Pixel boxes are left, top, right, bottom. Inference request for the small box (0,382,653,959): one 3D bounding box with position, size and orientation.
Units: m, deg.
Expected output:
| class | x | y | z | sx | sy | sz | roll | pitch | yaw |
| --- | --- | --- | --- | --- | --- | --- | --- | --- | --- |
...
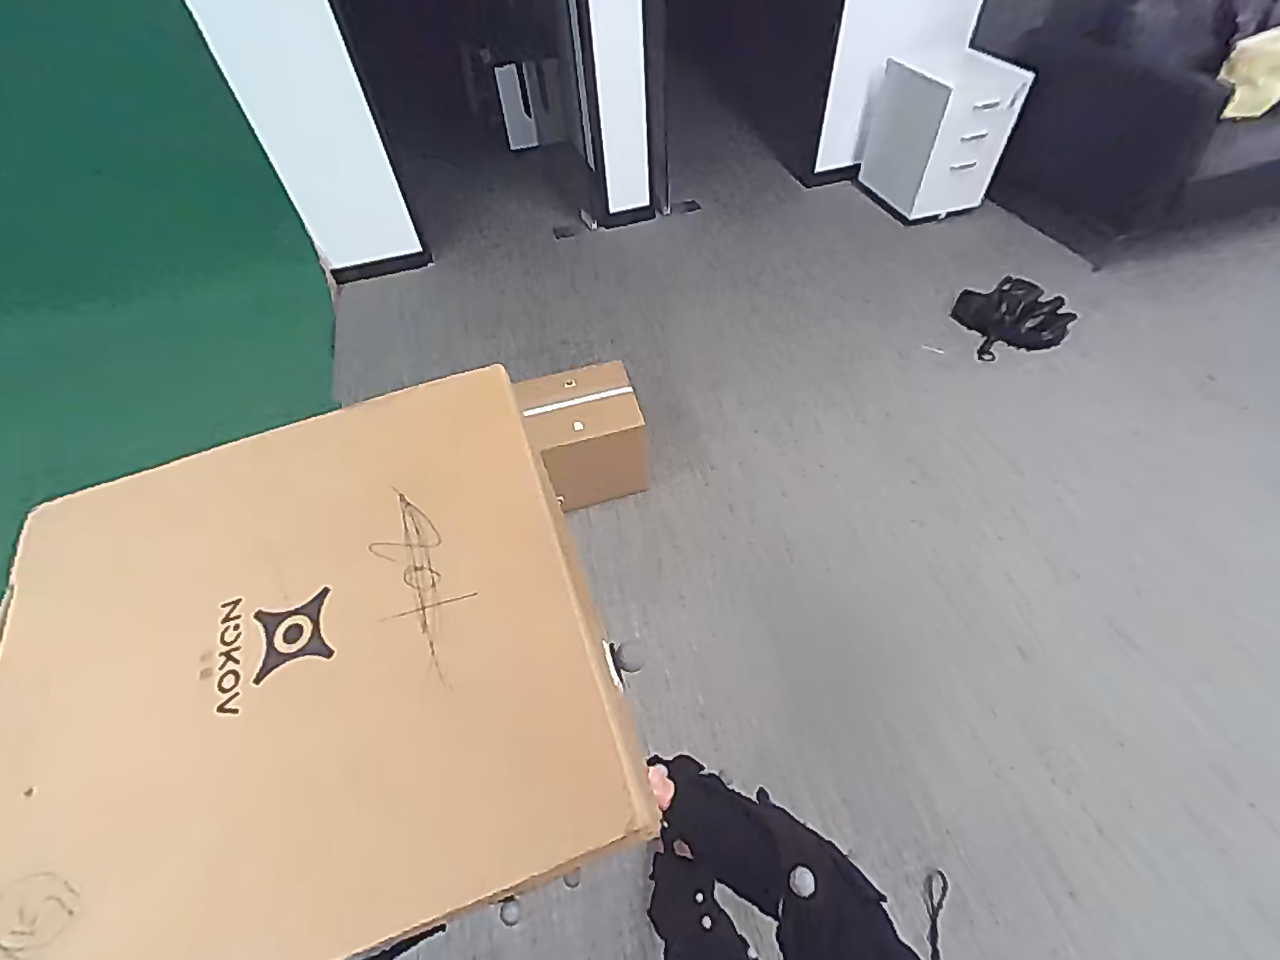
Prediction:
| class | x | y | z | sx | sy | sz | roll | pitch | yaw |
| --- | --- | --- | --- | --- | --- | --- | --- | --- | --- |
| small box | -0.101 | 0.092 | 0.239 | 0.179 | 0.176 | 0.168 | -19 | 61 | -8 |
